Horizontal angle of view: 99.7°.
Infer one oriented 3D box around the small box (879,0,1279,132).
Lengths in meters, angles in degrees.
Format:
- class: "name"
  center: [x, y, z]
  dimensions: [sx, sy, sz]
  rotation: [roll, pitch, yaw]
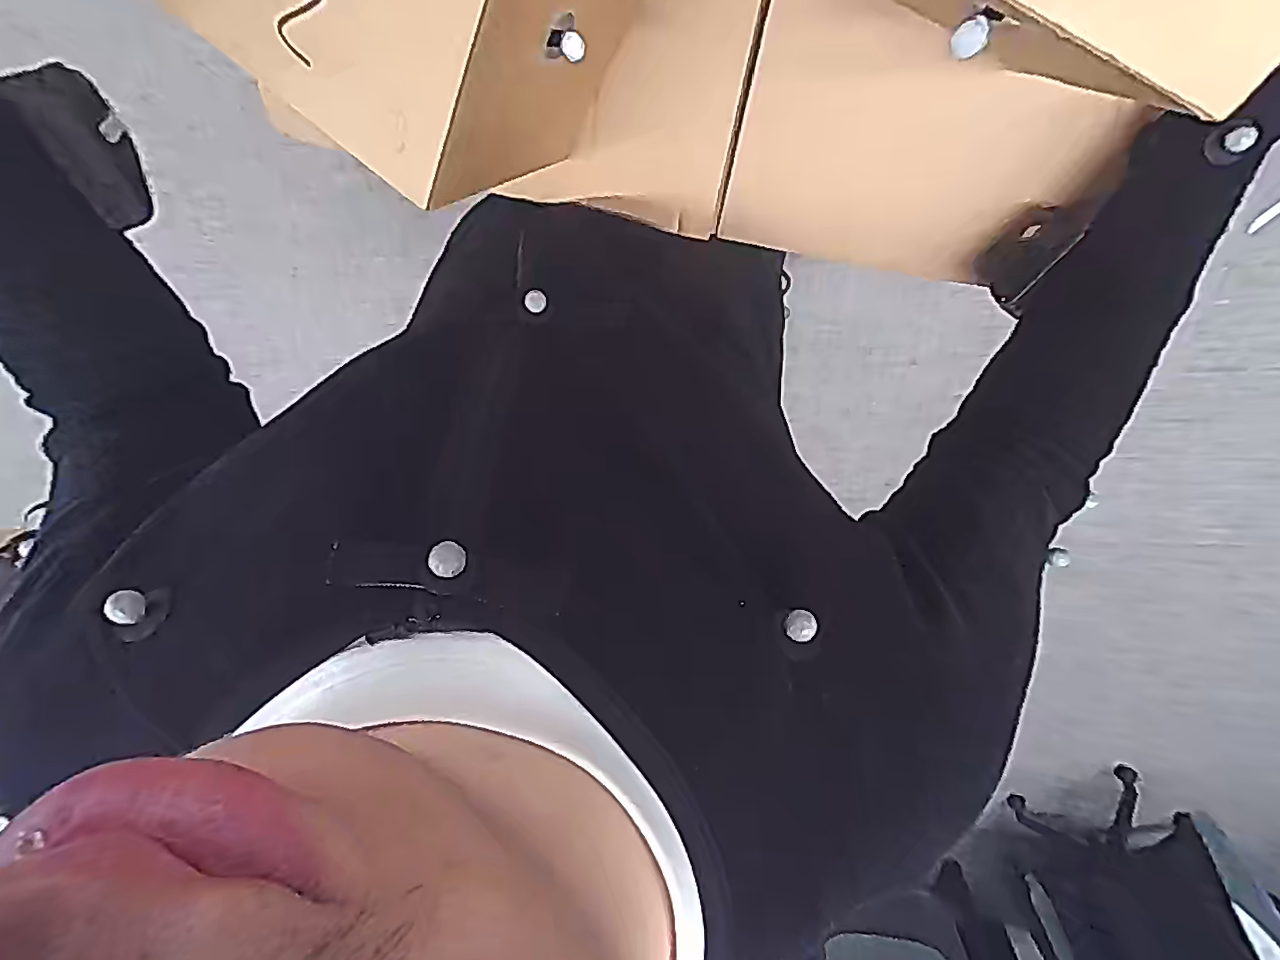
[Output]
- class: "small box"
  center: [0.190, -0.283, 0.221]
  dimensions: [0.179, 0.176, 0.168]
  rotation: [20, 132, -9]
